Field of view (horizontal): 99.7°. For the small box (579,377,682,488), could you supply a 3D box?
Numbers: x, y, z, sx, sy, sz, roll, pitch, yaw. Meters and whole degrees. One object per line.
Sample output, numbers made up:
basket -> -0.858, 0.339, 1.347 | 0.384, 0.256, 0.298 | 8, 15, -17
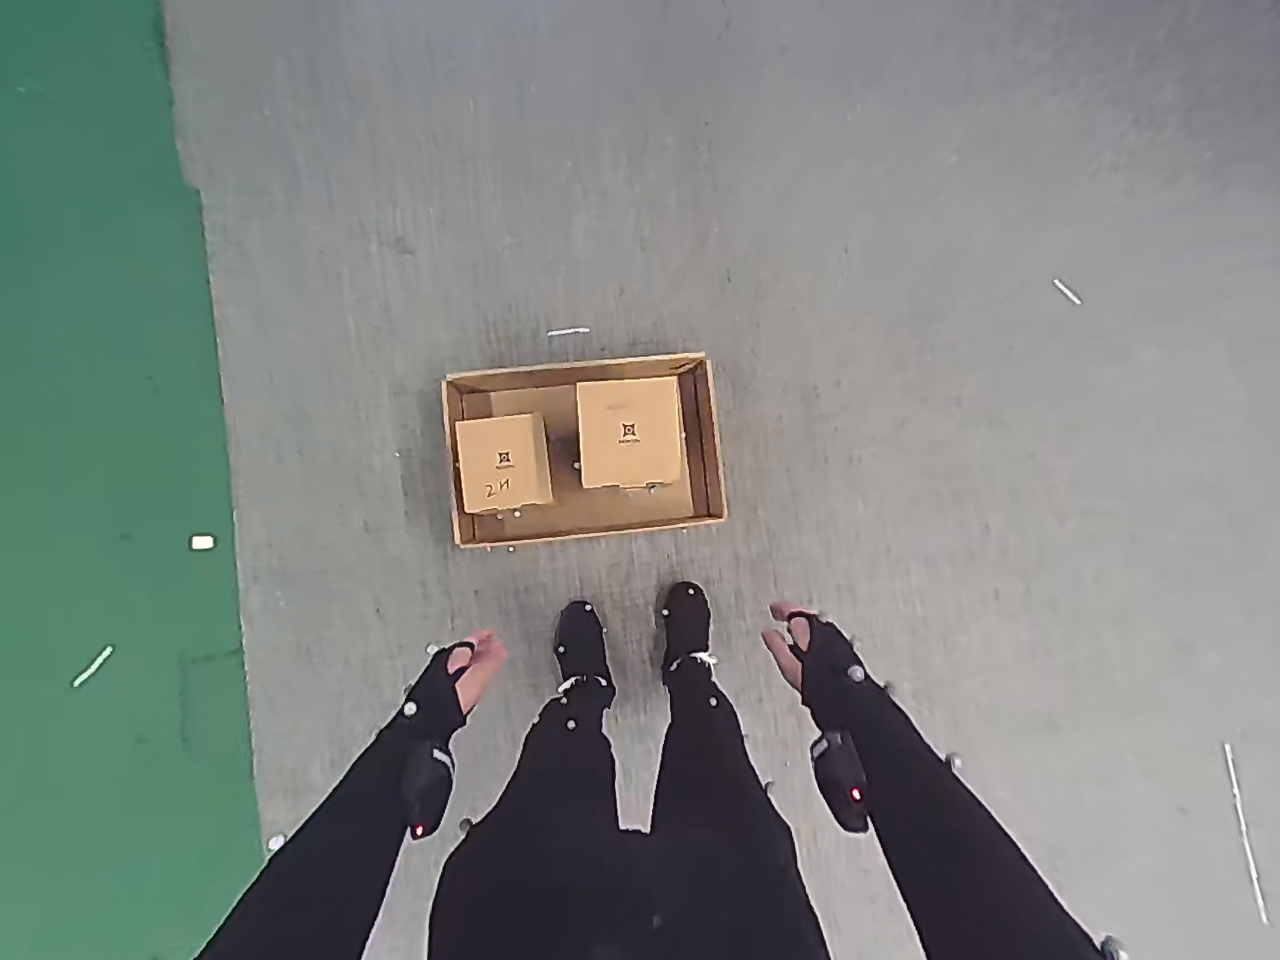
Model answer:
small box -> -0.017, -0.076, 0.958 | 0.168, 0.176, 0.179 | -3, 87, -3

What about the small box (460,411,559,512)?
small box -> -0.258, -0.032, 1.097 | 0.168, 0.176, 0.179 | -6, 87, -5
